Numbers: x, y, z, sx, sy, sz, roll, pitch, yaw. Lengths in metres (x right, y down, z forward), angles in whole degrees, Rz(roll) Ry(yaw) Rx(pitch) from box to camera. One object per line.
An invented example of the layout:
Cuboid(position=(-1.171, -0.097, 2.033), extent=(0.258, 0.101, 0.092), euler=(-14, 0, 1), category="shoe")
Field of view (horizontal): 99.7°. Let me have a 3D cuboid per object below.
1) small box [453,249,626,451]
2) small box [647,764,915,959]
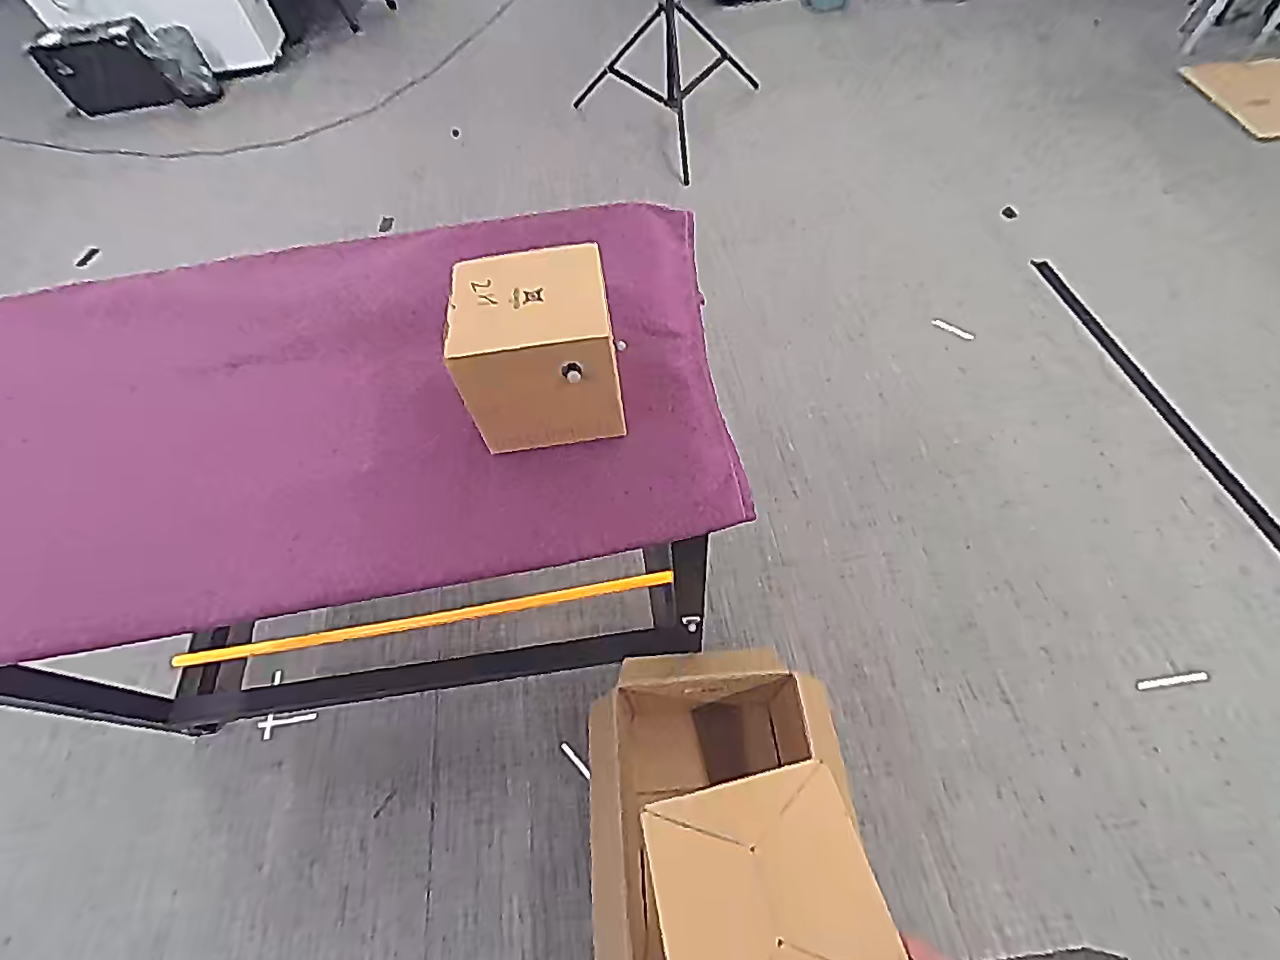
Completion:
Cuboid(position=(-0.112, -0.155, 0.672), extent=(0.179, 0.176, 0.168), euler=(-8, 55, 0), category="small box")
Cuboid(position=(0.110, 0.380, 0.484), extent=(0.179, 0.176, 0.168), euler=(-13, 45, -3), category="small box")
